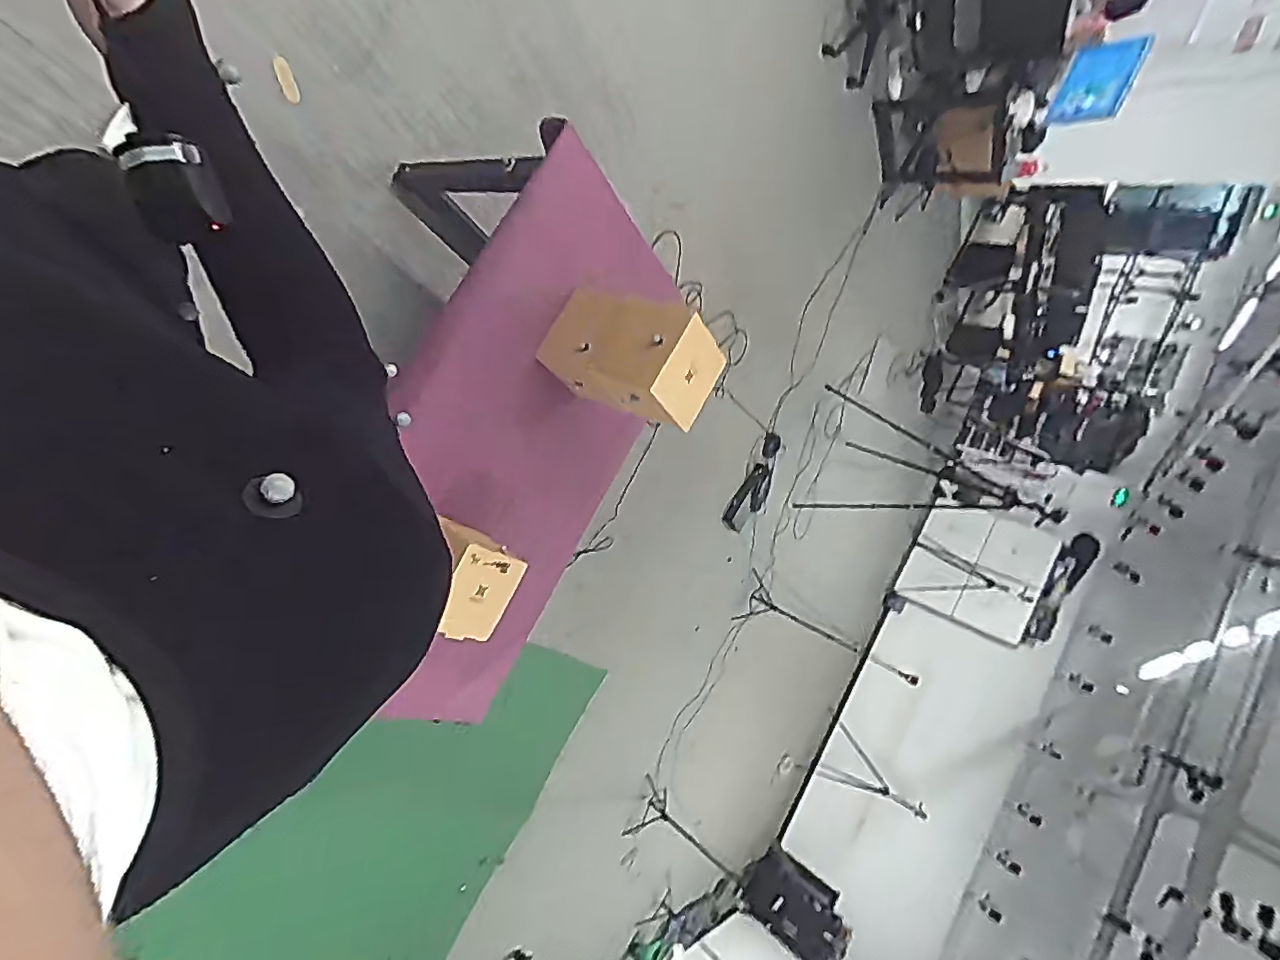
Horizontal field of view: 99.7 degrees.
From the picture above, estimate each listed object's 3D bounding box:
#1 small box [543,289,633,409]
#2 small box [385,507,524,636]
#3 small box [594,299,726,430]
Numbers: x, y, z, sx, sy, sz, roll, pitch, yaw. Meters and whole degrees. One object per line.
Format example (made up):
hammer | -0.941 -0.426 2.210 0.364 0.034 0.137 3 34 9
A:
small box | -0.082 -0.284 1.164 0.179 0.176 0.168 -59 144 -7
small box | -0.372 0.180 1.071 0.179 0.176 0.168 -60 144 -6
small box | 0.034 -0.230 1.066 0.179 0.176 0.168 -60 143 -8
